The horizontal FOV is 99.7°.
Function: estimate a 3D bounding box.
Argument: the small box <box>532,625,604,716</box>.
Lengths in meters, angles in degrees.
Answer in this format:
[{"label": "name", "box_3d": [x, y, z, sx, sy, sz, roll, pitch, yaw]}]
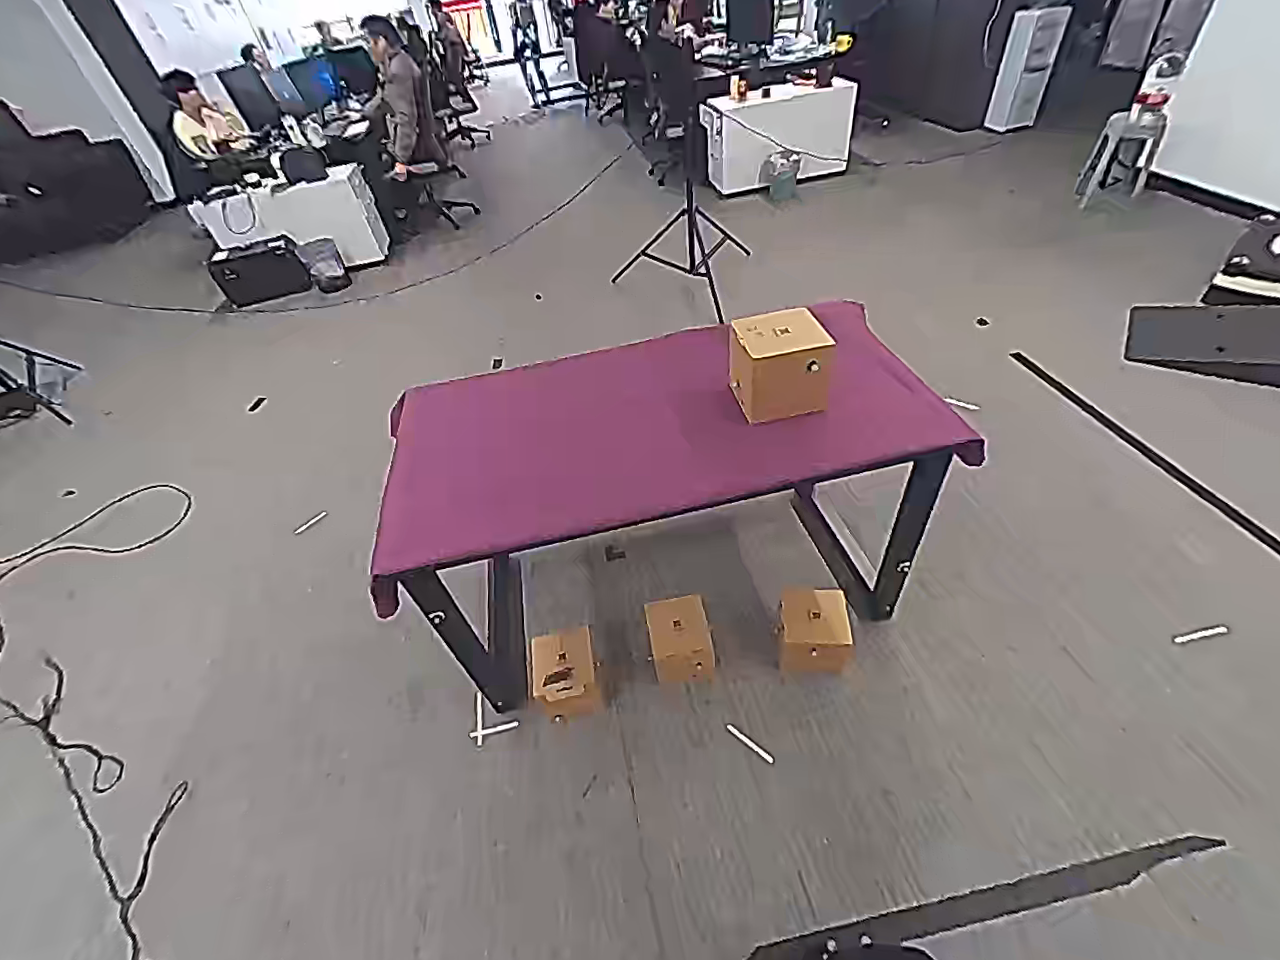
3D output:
[{"label": "small box", "box_3d": [-0.200, 0.540, 1.515, 0.168, 0.176, 0.179, -12, 44, -3]}]

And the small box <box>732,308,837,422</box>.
[{"label": "small box", "box_3d": [0.305, -0.250, 1.186, 0.179, 0.176, 0.168, -12, 44, -2]}]

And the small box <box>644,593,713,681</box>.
[{"label": "small box", "box_3d": [0.111, 0.457, 1.551, 0.168, 0.176, 0.179, -11, 44, -3]}]

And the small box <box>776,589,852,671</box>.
[{"label": "small box", "box_3d": [0.482, 0.424, 1.524, 0.179, 0.176, 0.168, -1, 46, 10]}]
